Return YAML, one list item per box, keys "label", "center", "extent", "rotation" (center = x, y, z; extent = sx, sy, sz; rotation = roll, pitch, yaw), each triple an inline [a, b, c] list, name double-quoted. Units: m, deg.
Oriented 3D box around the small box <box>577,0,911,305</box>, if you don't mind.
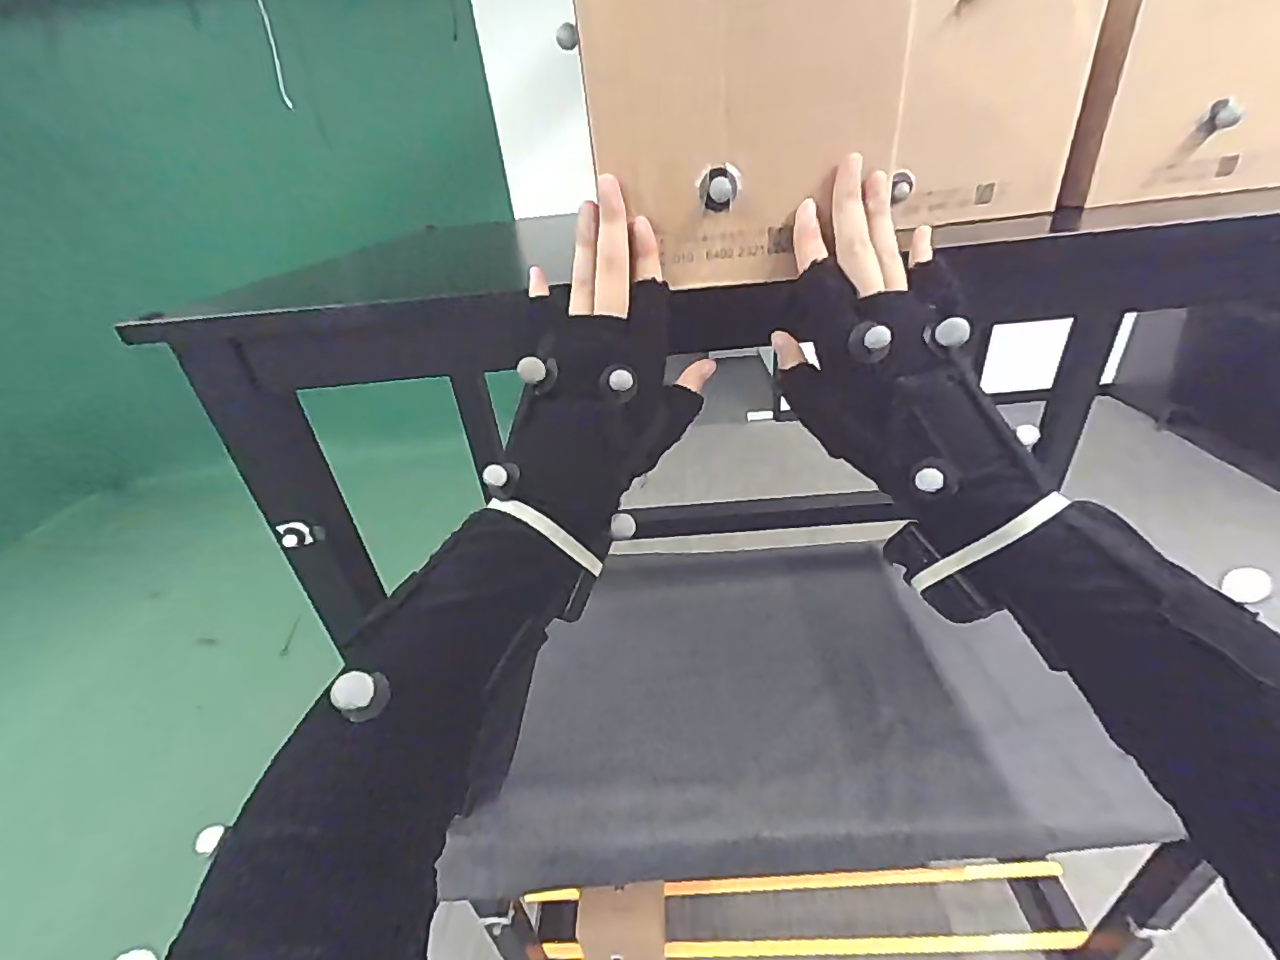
- label: "small box"
  center: [0.057, -0.226, 0.367]
  extent: [0.168, 0.176, 0.179]
  rotation: [-4, 32, 4]
